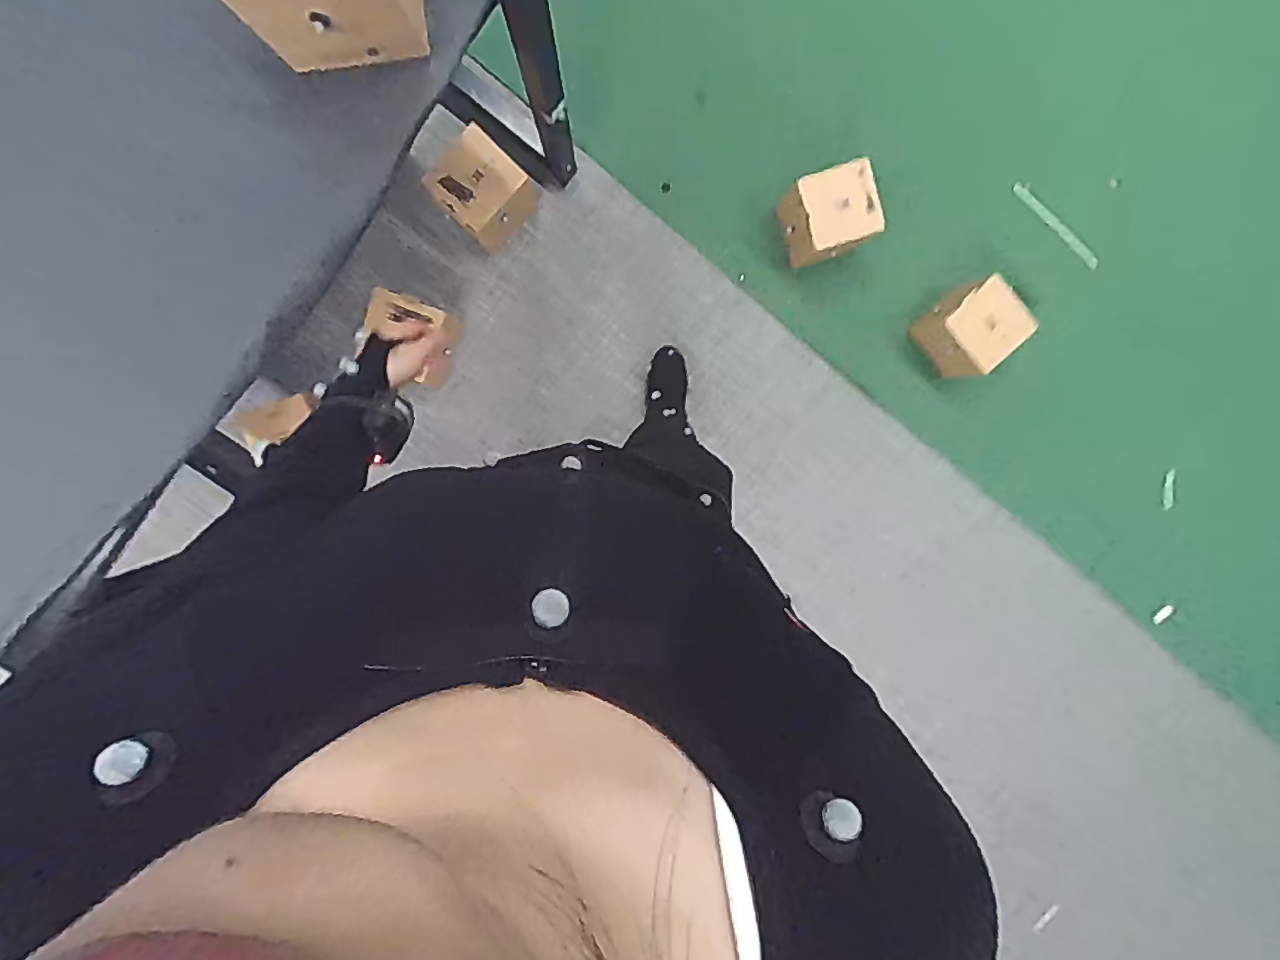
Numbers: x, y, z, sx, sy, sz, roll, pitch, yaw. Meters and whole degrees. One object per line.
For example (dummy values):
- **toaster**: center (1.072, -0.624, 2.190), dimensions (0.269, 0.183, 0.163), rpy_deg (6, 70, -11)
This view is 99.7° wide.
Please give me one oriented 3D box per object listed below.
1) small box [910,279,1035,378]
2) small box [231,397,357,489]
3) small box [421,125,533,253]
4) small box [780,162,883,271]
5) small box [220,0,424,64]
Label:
- **small box**: center (0.833, -0.374, 1.374), dimensions (0.168, 0.176, 0.179), rpy_deg (-43, 99, 4)
- **small box**: center (-0.833, -0.096, 1.323), dimensions (0.168, 0.176, 0.179), rpy_deg (-19, 98, 0)
- **small box**: center (-0.371, -0.667, 1.268), dimensions (0.168, 0.176, 0.179), rpy_deg (43, 93, -8)
- **small box**: center (0.456, -0.632, 1.319), dimensions (0.179, 0.176, 0.168), rpy_deg (-18, 98, 0)
- **small box**: center (-0.337, -0.558, 0.545), dimensions (0.168, 0.176, 0.179), rpy_deg (-6, 98, 0)
